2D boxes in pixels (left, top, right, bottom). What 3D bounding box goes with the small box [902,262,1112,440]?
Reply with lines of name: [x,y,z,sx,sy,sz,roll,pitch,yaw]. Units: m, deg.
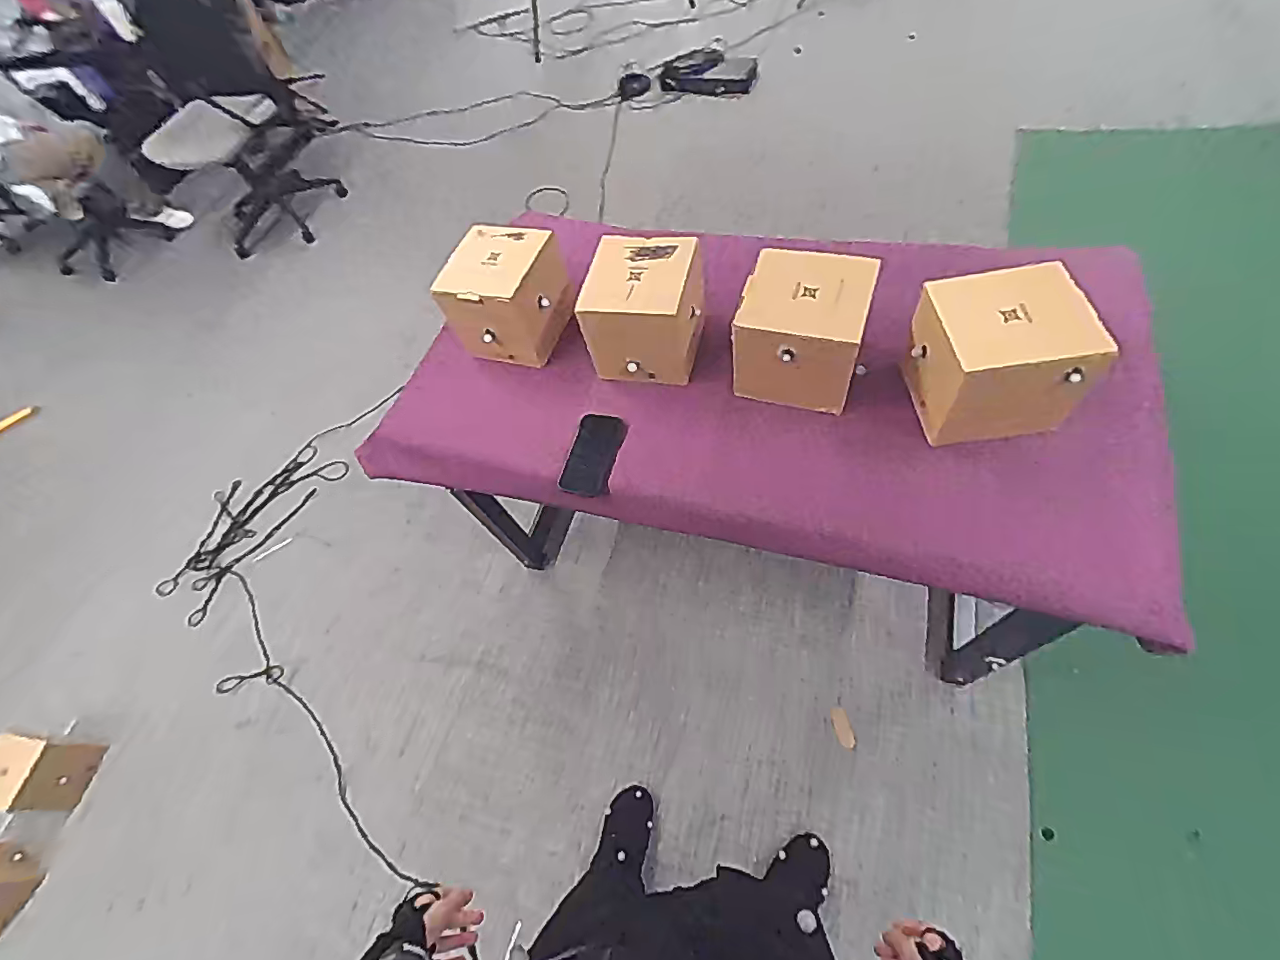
small box: [0.486,-0.171,0.758,0.179,0.176,0.168,-7,59,7]

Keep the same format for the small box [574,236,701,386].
small box: [0.008,-0.286,0.921,0.168,0.176,0.179,8,63,16]

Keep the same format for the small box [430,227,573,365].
small box: [-0.243,-0.337,1.002,0.168,0.176,0.179,13,64,18]

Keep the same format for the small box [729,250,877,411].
small box: [0.248,-0.228,0.841,0.179,0.176,0.168,15,65,19]

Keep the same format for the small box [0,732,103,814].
small box: [-1.649,0.797,1.476,0.179,0.176,0.168,3,61,14]
